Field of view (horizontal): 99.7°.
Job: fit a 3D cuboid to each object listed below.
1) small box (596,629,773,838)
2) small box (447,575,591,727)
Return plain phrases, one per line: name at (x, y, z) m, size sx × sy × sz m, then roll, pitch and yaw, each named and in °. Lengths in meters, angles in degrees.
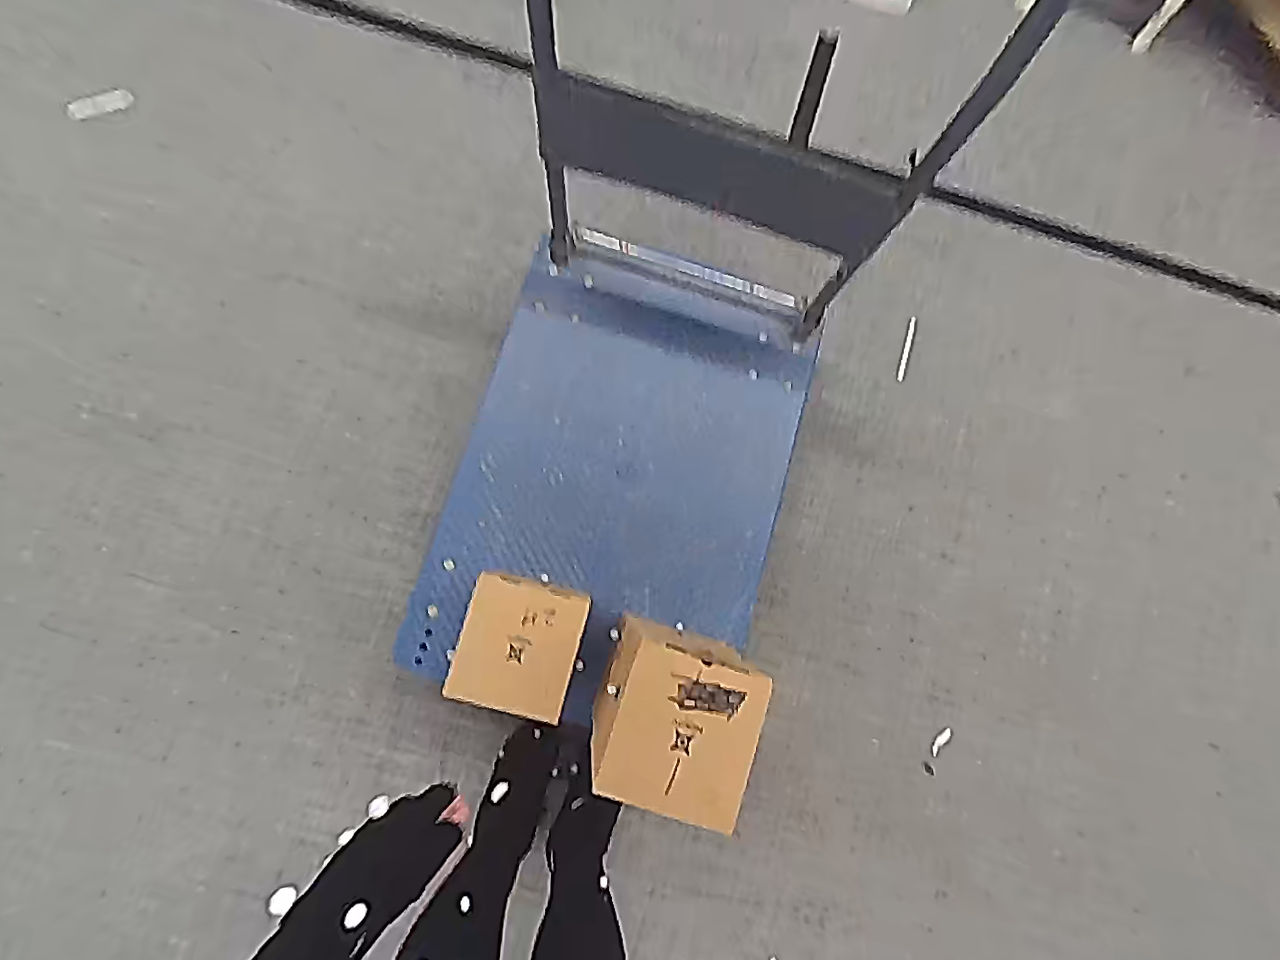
small box at (0.045, 0.304, 0.692) m, size 0.168 × 0.176 × 0.179 m, roll 20°, pitch 81°, yaw -2°
small box at (-0.176, 0.255, 0.847) m, size 0.168 × 0.176 × 0.179 m, roll 16°, pitch 80°, yaw -3°
